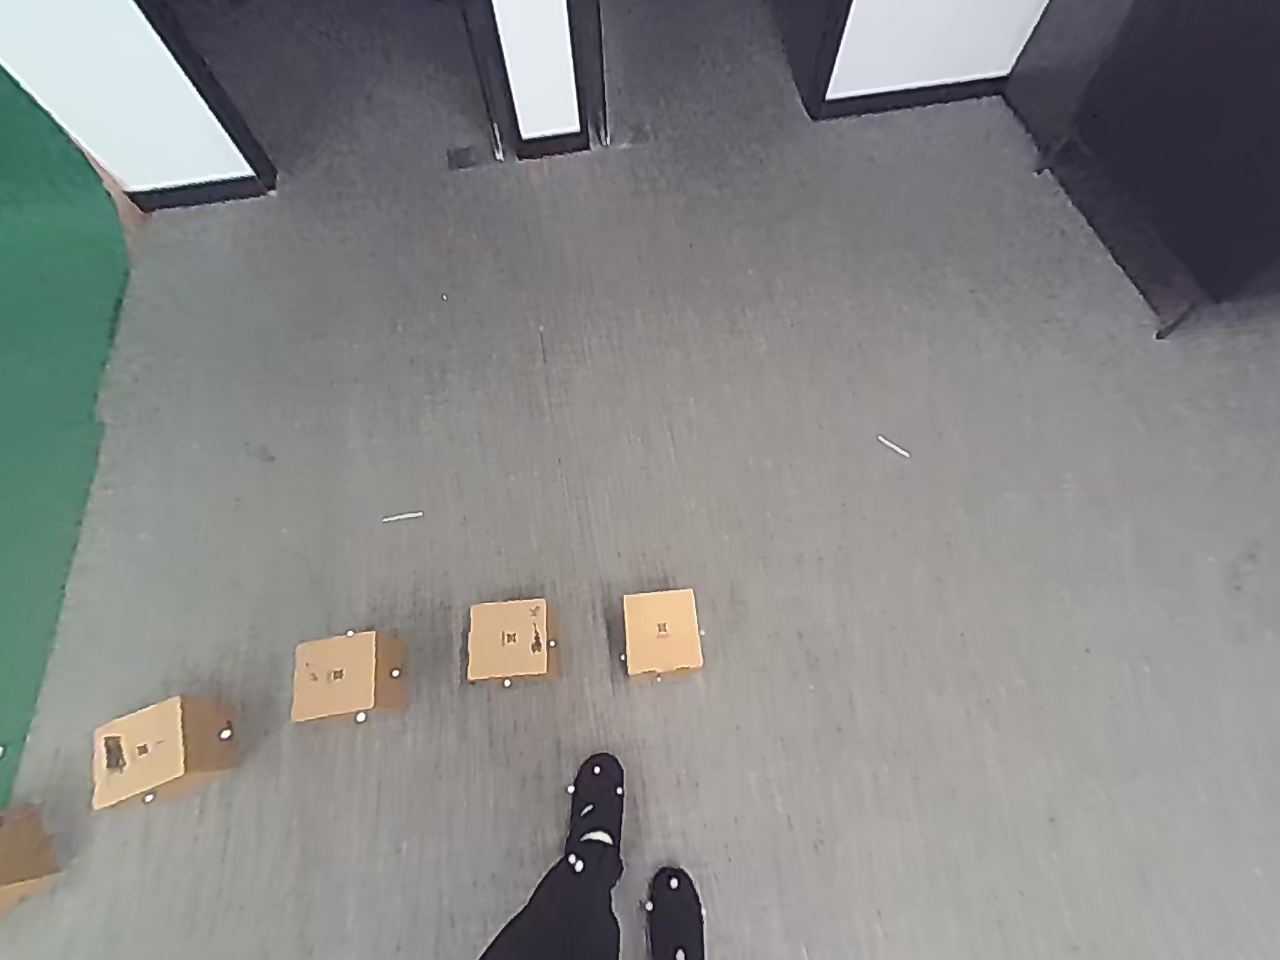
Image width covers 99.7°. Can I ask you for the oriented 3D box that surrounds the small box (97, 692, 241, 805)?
[{"bbox_3d":[-1.028,0.588,1.192,0.179,0.176,0.168,-20,67,-9],"label":"small box"}]

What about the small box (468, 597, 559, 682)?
[{"bbox_3d":[-0.292,0.382,1.281,0.179,0.176,0.168,-5,66,-1],"label":"small box"}]

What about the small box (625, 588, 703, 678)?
[{"bbox_3d":[0.050,0.367,1.288,0.168,0.176,0.179,-5,66,-2],"label":"small box"}]

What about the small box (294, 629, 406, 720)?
[{"bbox_3d":[-0.658,0.453,1.251,0.179,0.176,0.168,-9,65,-4],"label":"small box"}]
